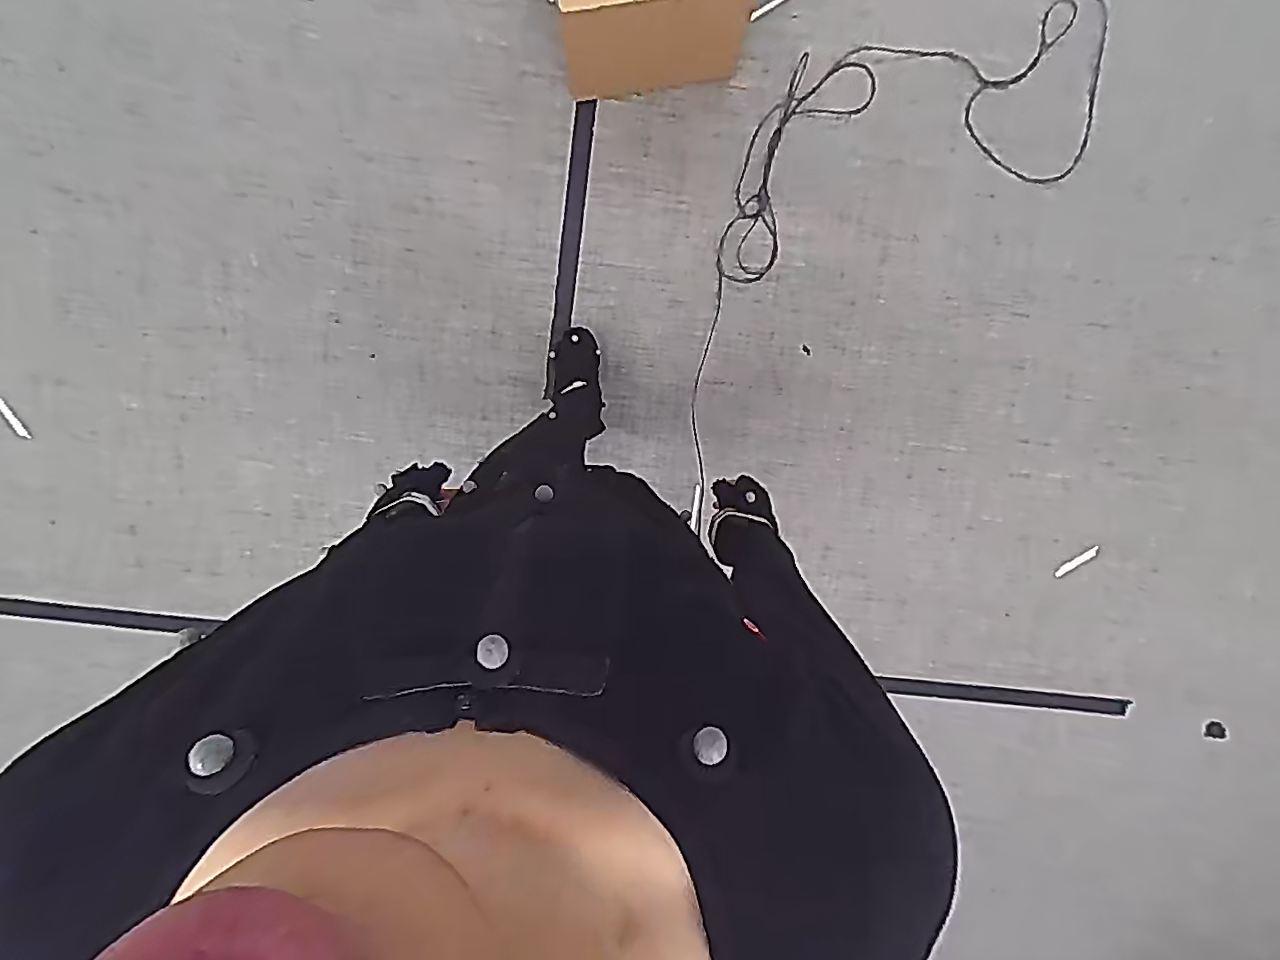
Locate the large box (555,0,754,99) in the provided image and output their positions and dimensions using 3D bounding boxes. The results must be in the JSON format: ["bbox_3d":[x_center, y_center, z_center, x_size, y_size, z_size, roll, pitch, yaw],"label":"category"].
[{"bbox_3d":[0.012,-1.107,1.179,0.408,0.320,0.320,-10,98,-1],"label":"large box"}]
